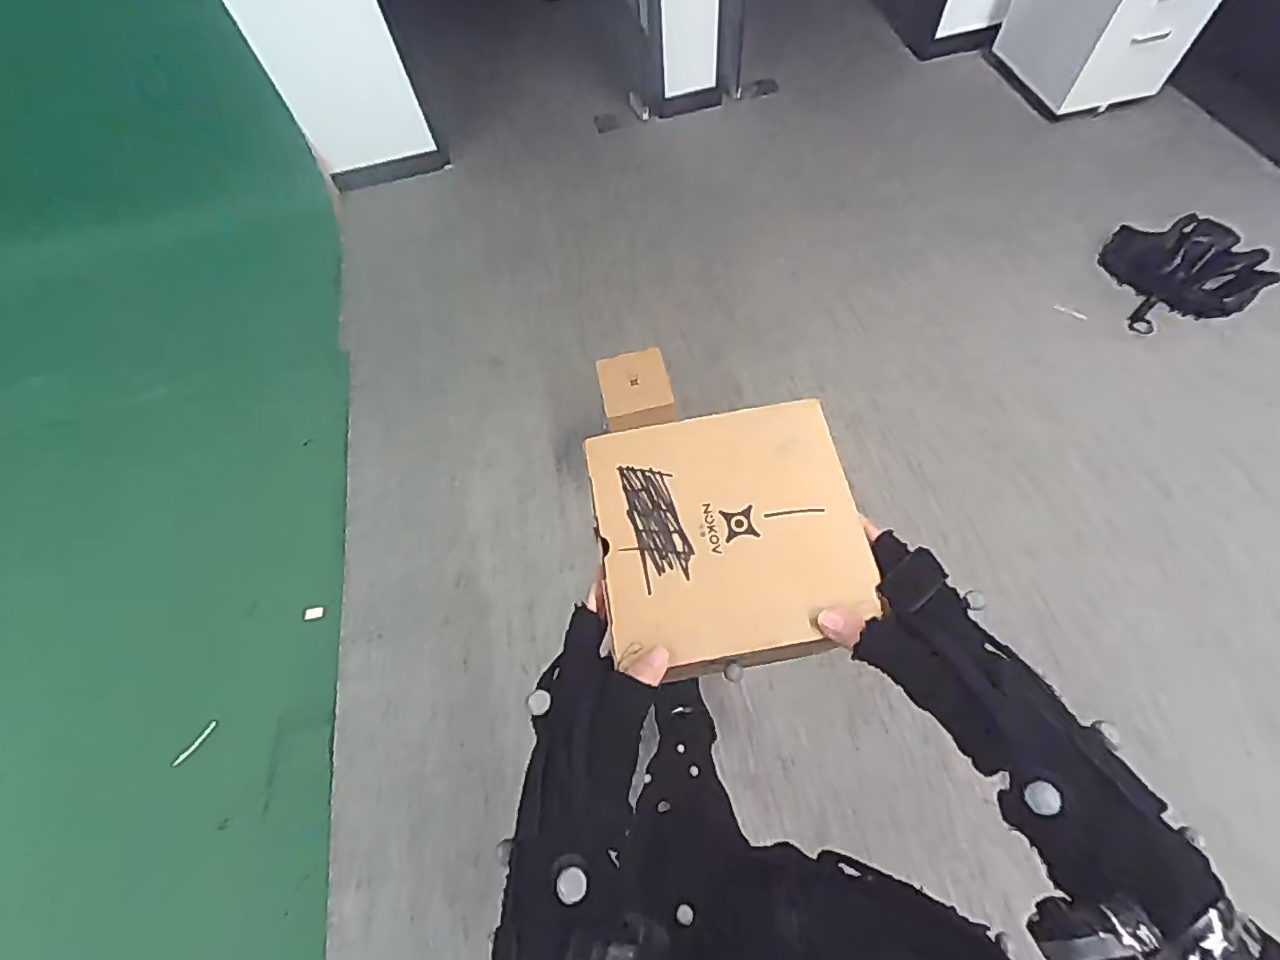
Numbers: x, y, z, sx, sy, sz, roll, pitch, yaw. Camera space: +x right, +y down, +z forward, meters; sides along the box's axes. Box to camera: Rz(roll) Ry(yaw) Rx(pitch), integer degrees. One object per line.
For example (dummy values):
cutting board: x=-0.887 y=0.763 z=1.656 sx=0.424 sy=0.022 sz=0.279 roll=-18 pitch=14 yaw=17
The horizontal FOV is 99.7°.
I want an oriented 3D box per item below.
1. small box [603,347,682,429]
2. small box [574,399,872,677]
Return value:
small box: x=0.009 y=-0.202 z=1.373 sx=0.168 sy=0.176 sz=0.179 roll=-13 pitch=63 yaw=1
small box: x=0.054 y=0.059 z=0.438 sx=0.179 sy=0.176 sz=0.168 roll=-10 pitch=67 yaw=0
